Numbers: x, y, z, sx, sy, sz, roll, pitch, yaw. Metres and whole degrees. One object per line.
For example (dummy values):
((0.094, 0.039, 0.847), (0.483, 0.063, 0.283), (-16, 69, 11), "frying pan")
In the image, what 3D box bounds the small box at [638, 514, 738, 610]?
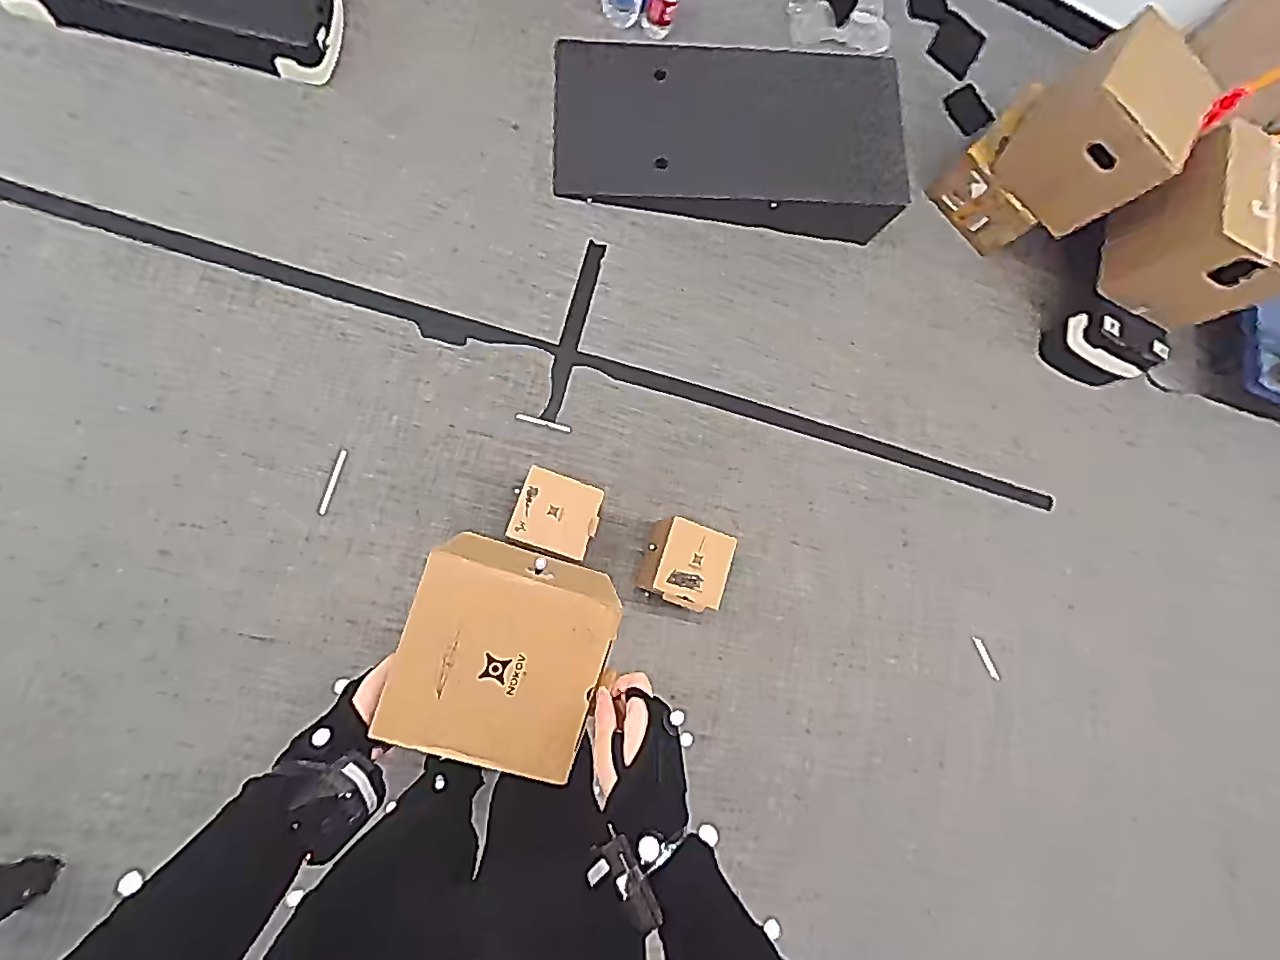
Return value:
((0.107, 0.199, 1.299), (0.168, 0.176, 0.179), (22, 75, -11), "small box")

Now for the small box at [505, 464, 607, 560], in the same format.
((-0.197, 0.080, 1.236), (0.179, 0.176, 0.168), (22, 76, -11), "small box")

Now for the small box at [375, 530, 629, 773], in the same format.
((-0.126, 0.154, 0.546), (0.179, 0.176, 0.168), (19, 86, -7), "small box")
